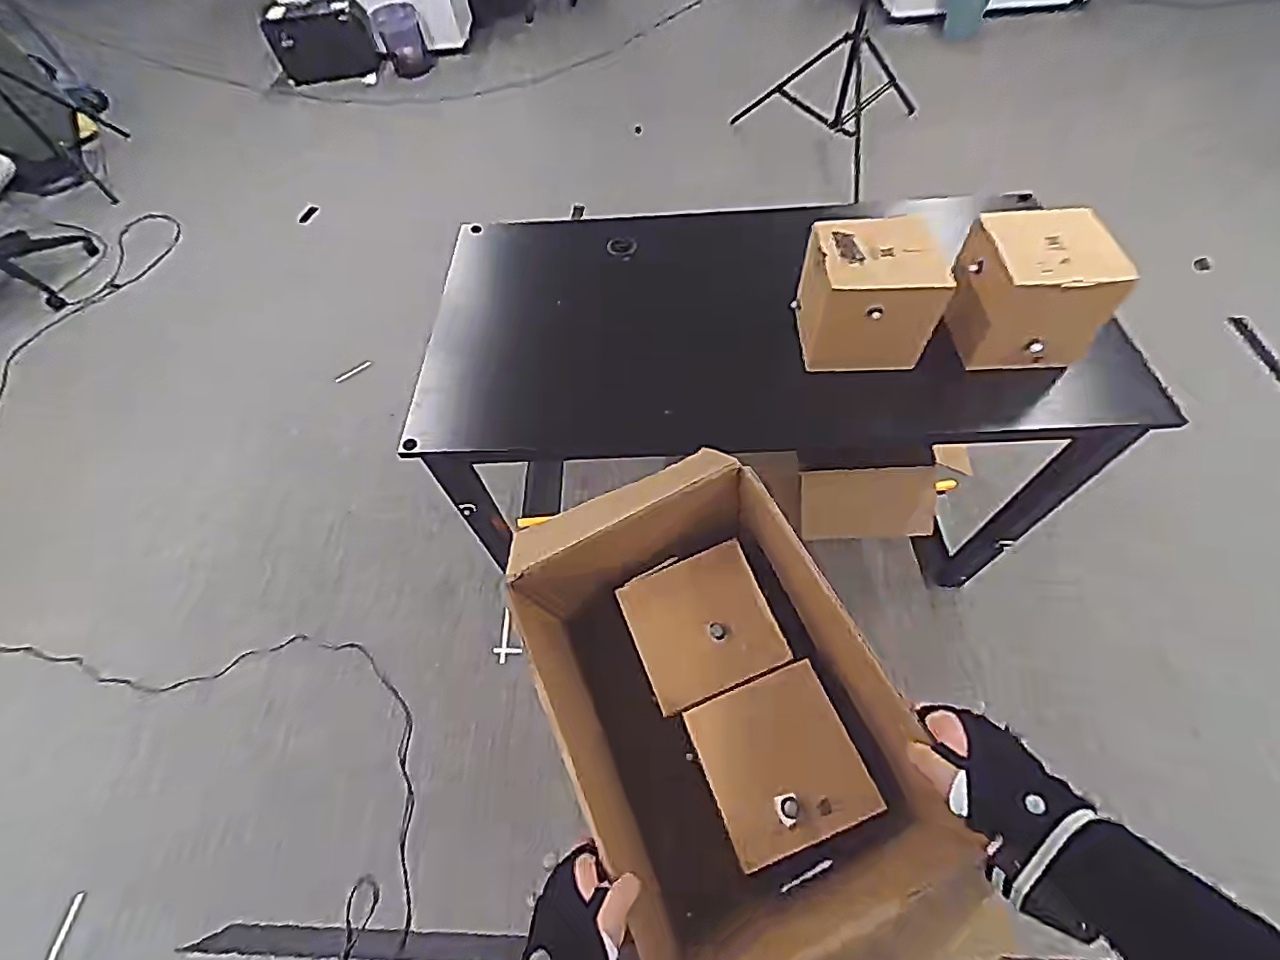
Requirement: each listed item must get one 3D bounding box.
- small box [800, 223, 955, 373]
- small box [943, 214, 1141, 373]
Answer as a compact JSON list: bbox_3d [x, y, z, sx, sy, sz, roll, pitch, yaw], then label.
[{"bbox_3d":[0.362,-0.286,0.867,0.179,0.176,0.168,0,58,3],"label":"small box"},{"bbox_3d":[0.607,-0.289,0.849,0.168,0.176,0.179,-1,58,5],"label":"small box"}]
